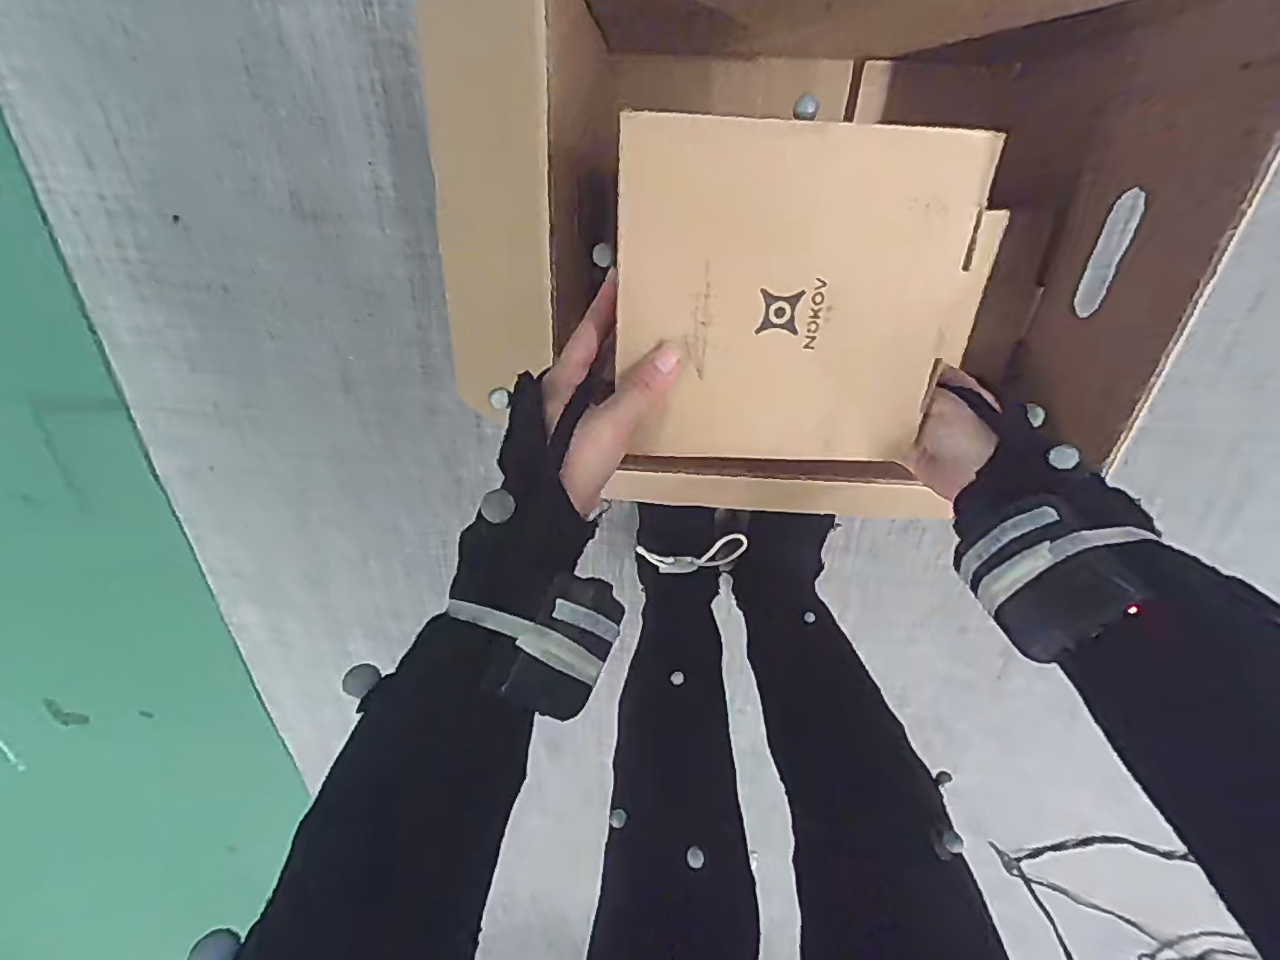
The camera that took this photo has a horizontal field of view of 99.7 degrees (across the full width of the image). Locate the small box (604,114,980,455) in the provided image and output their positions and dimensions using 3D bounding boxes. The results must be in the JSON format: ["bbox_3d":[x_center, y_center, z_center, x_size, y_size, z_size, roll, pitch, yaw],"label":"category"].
[{"bbox_3d":[0.068,-0.128,0.357,0.179,0.176,0.168,2,117,-2],"label":"small box"}]
